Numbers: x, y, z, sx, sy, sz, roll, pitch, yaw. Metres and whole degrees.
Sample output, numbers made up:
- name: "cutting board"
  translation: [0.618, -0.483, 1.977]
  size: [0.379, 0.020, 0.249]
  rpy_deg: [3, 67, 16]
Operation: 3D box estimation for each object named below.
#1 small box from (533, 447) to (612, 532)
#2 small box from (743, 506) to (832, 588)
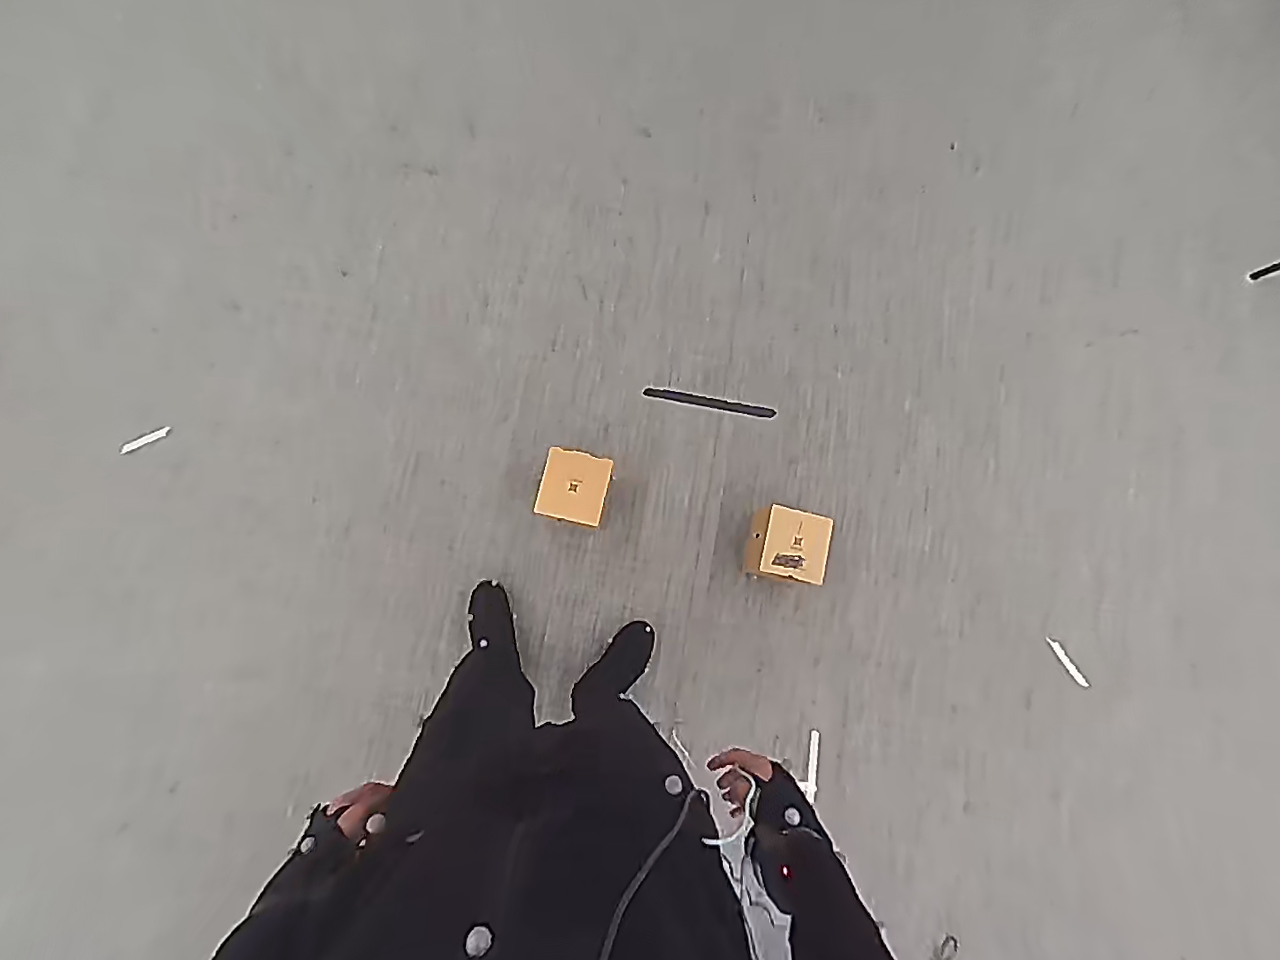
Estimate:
- name: "small box"
  translation: [-0.171, 0.033, 1.425]
  size: [0.168, 0.176, 0.179]
  rpy_deg: [13, 78, -1]
- name: "small box"
  translation: [0.383, 0.182, 1.434]
  size: [0.168, 0.176, 0.179]
  rpy_deg: [15, 78, -2]
